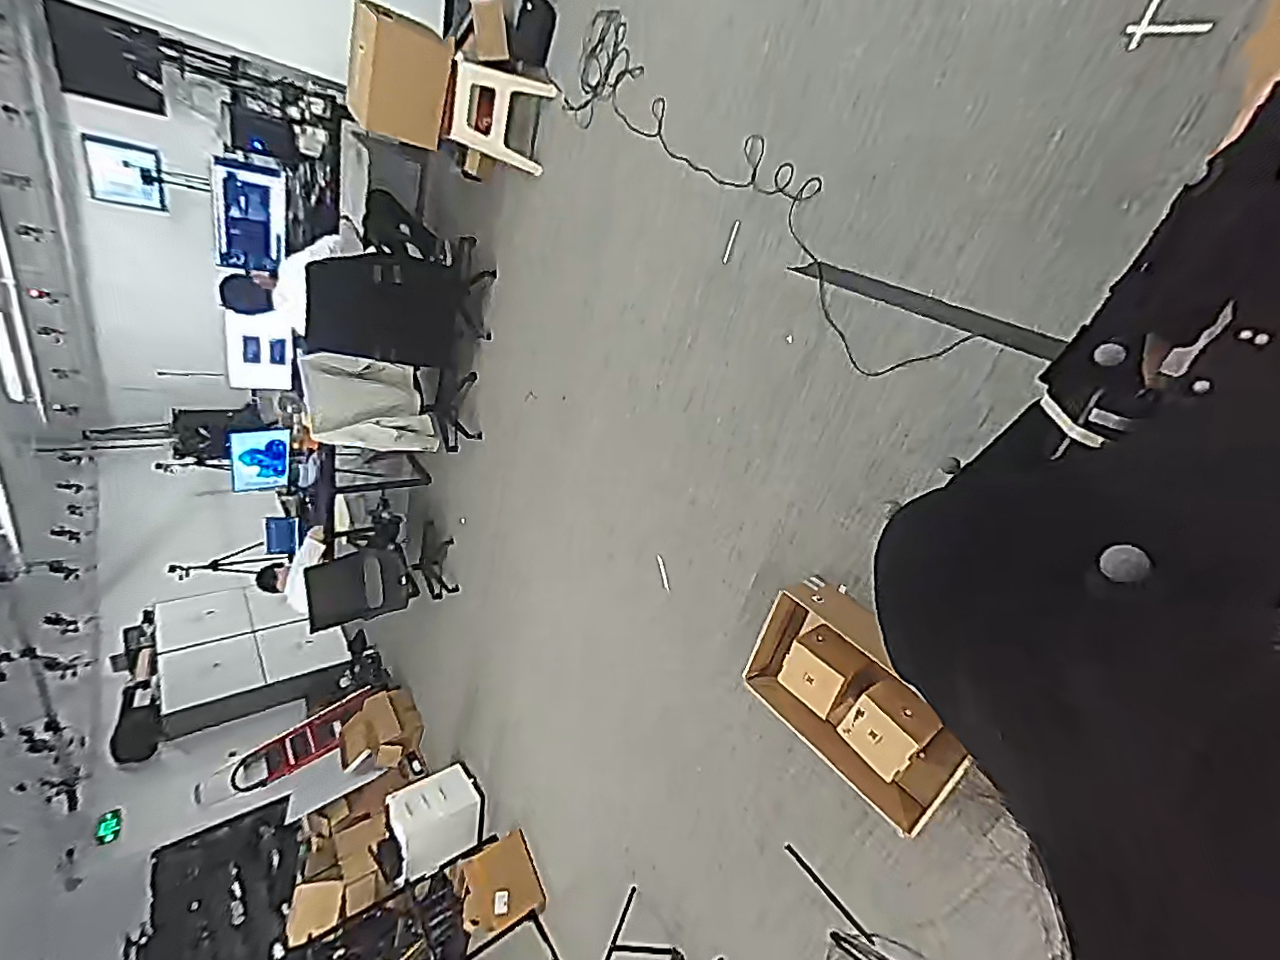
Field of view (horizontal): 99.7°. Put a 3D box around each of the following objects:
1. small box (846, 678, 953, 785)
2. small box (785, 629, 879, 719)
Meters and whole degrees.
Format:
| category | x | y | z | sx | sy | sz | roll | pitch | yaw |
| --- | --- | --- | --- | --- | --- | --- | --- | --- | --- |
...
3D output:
| category | x | y | z | sx | sy | sz | roll | pitch | yaw |
| --- | --- | --- | --- | --- | --- | --- | --- | --- | --- |
| small box | 0.711 | 0.678 | 1.479 | 0.179 | 0.176 | 0.168 | 43 | 126 | 38 |
| small box | 0.577 | 0.571 | 1.623 | 0.179 | 0.176 | 0.168 | 35 | 121 | 39 |
